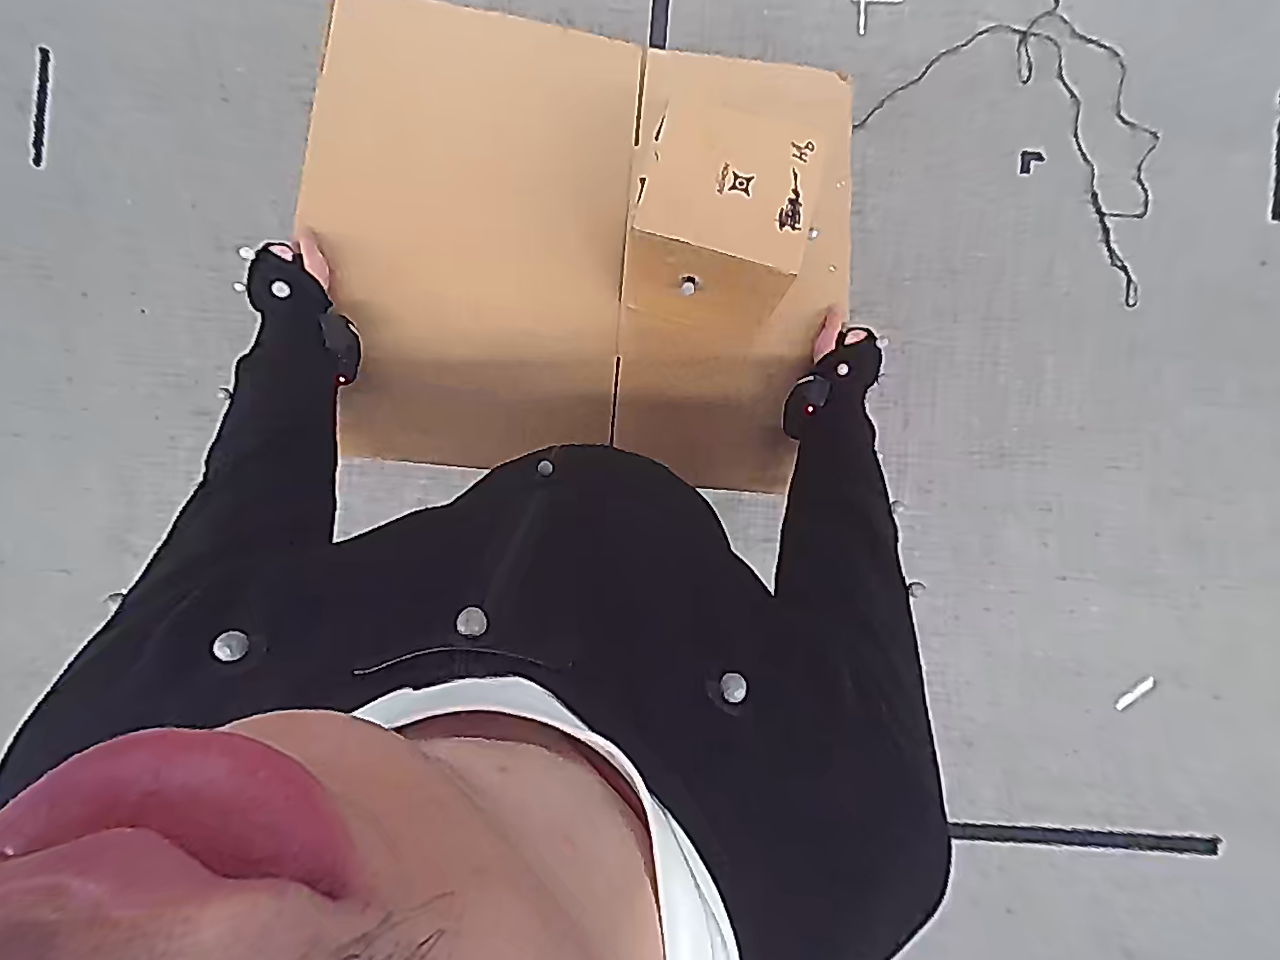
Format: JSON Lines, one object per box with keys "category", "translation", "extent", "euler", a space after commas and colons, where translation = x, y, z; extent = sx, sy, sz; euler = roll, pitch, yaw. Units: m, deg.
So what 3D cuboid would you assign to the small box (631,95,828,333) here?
{"category": "small box", "translation": [0.092, -0.294, 0.634], "extent": [0.179, 0.176, 0.168], "euler": [15, 81, 0]}
